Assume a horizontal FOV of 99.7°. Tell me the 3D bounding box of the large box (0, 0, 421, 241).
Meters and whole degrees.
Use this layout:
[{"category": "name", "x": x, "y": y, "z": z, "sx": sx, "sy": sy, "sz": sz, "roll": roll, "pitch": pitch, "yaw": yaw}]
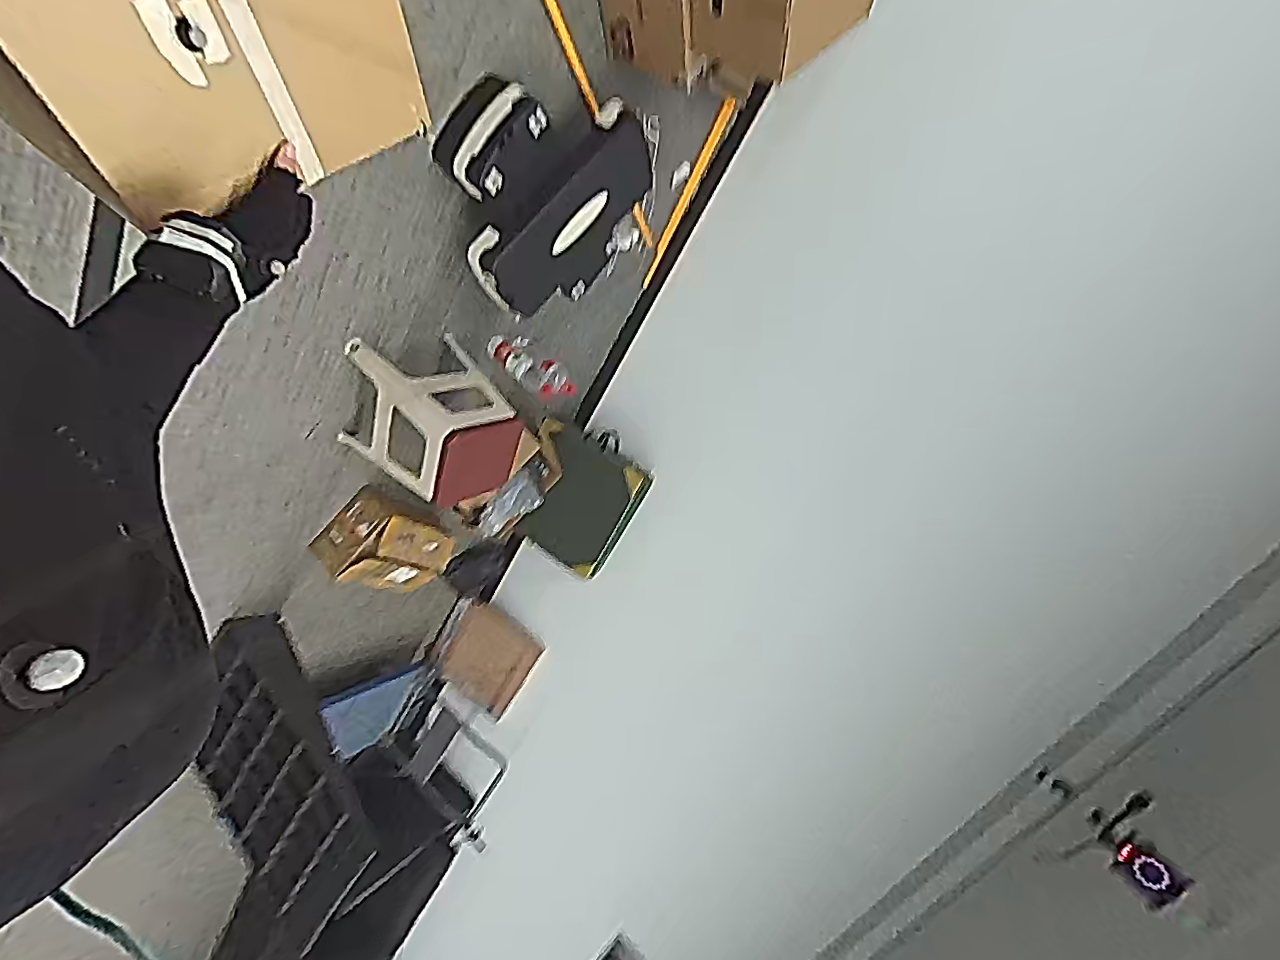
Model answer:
[{"category": "large box", "x": -0.455, "y": -0.499, "z": 0.433, "sx": 0.320, "sy": 0.320, "sz": 0.408, "roll": -47, "pitch": 162, "yaw": -25}]
